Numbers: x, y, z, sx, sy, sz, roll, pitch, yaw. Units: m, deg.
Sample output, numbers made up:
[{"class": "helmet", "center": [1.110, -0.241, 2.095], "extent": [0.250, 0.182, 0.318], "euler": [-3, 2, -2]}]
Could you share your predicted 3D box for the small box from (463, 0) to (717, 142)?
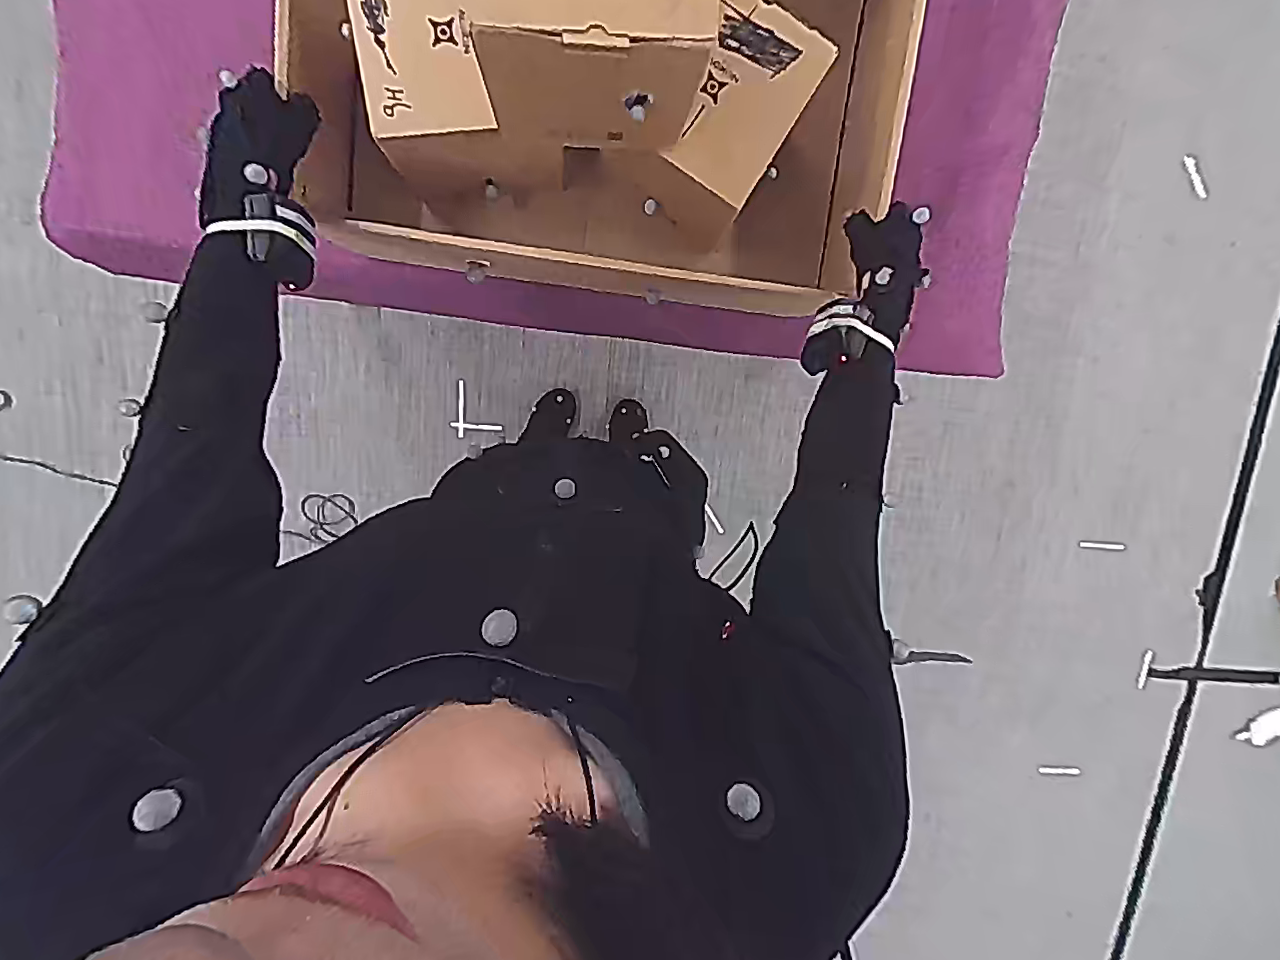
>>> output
[{"class": "small box", "center": [-0.038, -0.387, 0.412], "extent": [0.168, 0.176, 0.179], "euler": [-1, 98, -7]}]
